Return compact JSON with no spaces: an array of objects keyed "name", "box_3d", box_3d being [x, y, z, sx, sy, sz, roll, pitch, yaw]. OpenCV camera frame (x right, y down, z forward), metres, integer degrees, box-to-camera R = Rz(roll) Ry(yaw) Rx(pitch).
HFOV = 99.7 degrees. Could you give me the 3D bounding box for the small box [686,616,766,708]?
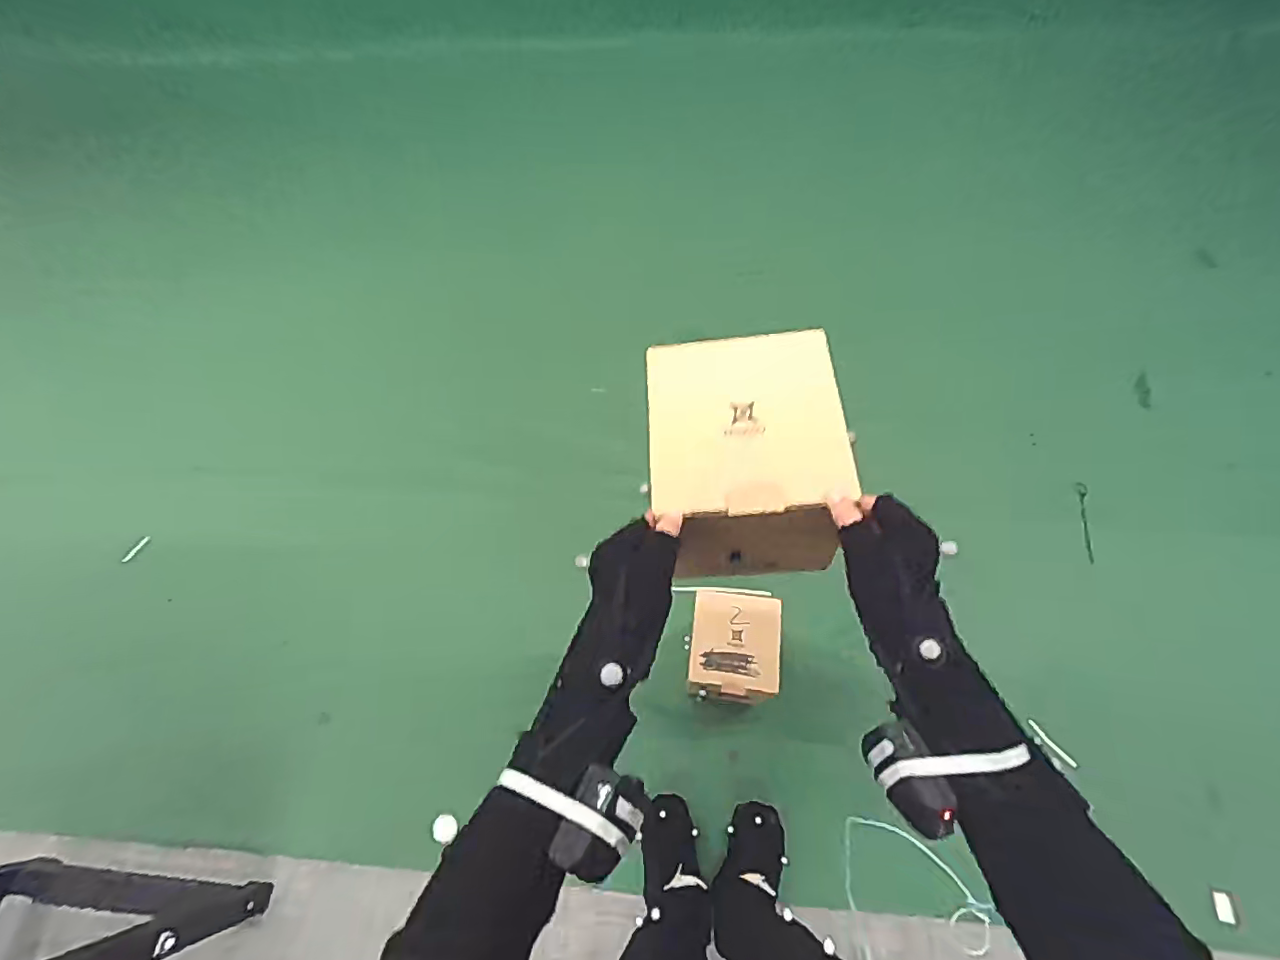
[{"name":"small box","box_3d":[0.193,0.419,1.234,0.168,0.176,0.179,4,66,5]}]
